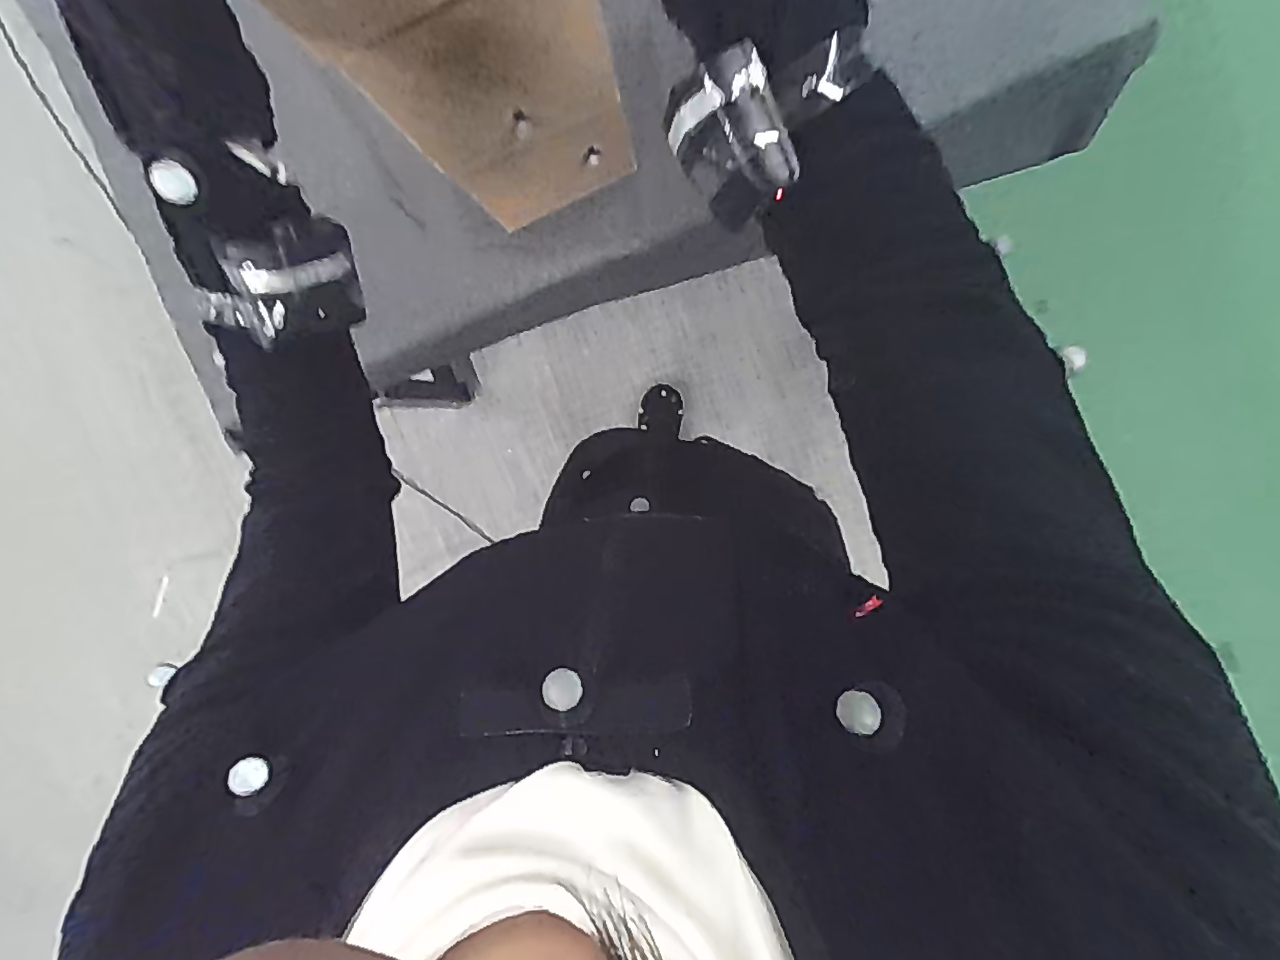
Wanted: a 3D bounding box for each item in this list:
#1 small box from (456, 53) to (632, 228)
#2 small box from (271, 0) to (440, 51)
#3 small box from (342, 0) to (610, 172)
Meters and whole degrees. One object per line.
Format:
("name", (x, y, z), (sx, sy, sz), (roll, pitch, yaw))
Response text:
("small box", (-0.116, -0.405, 0.577), (0.179, 0.176, 0.168), (-22, 93, 9))
("small box", (-0.156, -0.364, 0.251), (0.179, 0.176, 0.168), (-20, 93, 9))
("small box", (-0.130, -0.380, 0.415), (0.179, 0.176, 0.168), (-20, 93, 7))
